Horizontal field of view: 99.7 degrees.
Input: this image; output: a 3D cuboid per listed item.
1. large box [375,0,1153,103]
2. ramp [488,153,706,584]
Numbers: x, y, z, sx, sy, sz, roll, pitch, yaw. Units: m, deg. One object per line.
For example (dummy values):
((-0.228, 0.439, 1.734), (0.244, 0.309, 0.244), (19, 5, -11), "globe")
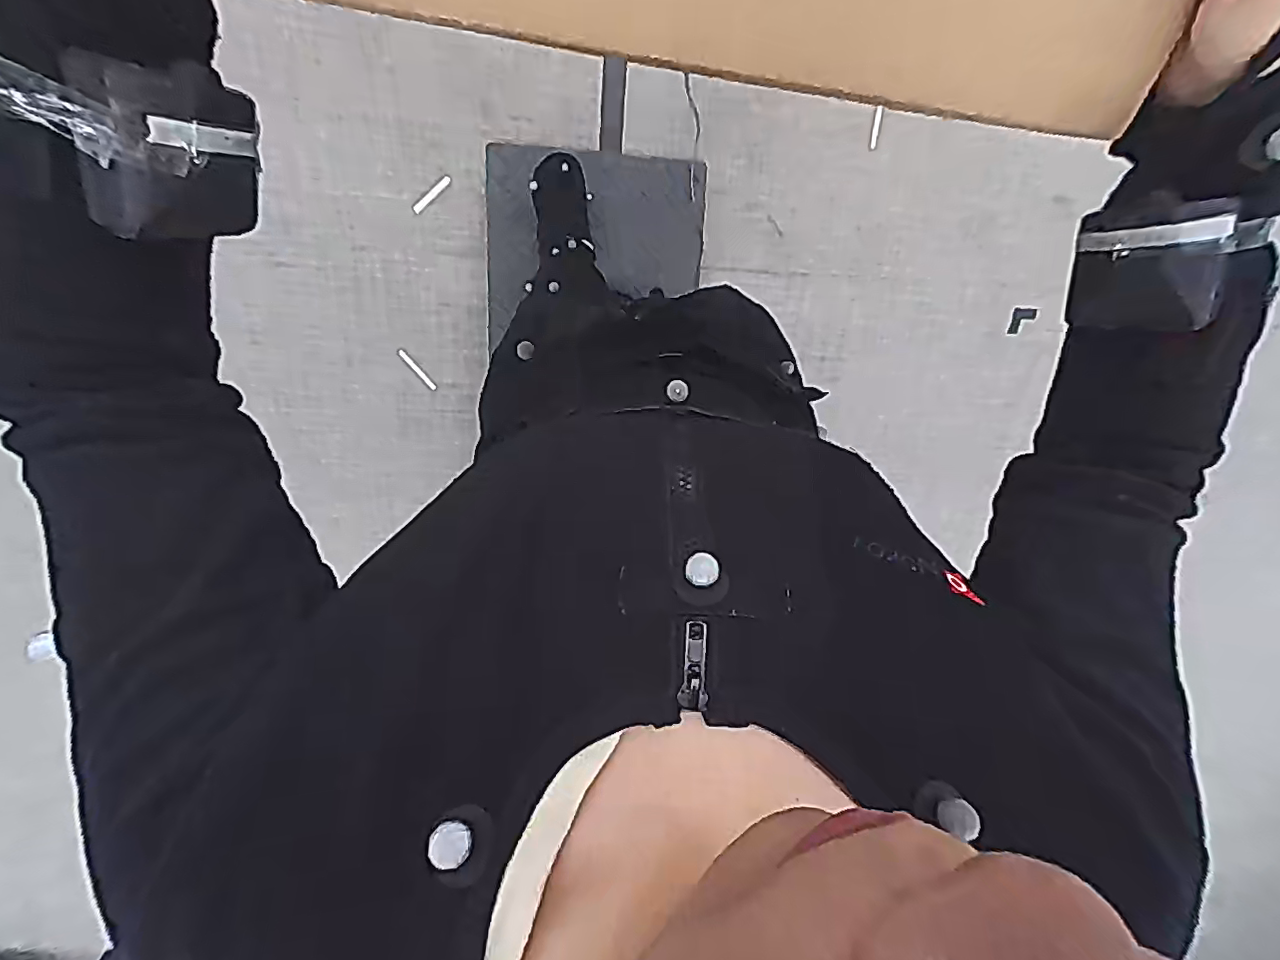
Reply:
((0.037, -0.407, 0.264), (0.408, 0.320, 0.320), (3, 129, -9), "large box")
((-0.114, -0.223, 1.306), (0.509, 0.206, 0.991), (0, 112, -5), "ramp")
